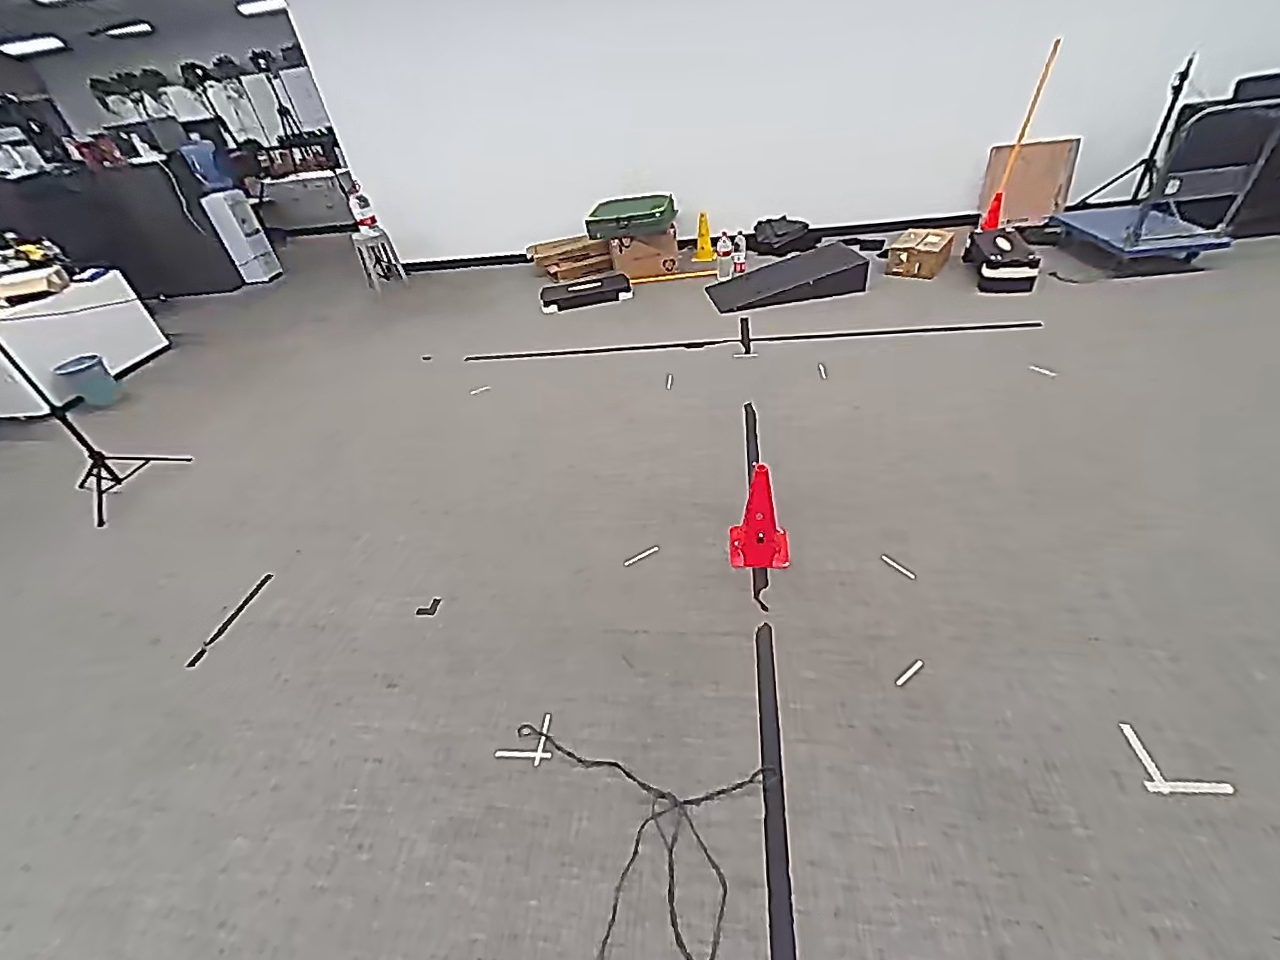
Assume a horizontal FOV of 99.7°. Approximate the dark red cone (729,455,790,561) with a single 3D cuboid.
[{"bbox_3d":[0.393,0.080,1.789,0.201,0.394,0.202,-2,39,9],"label":"dark red cone"}]
